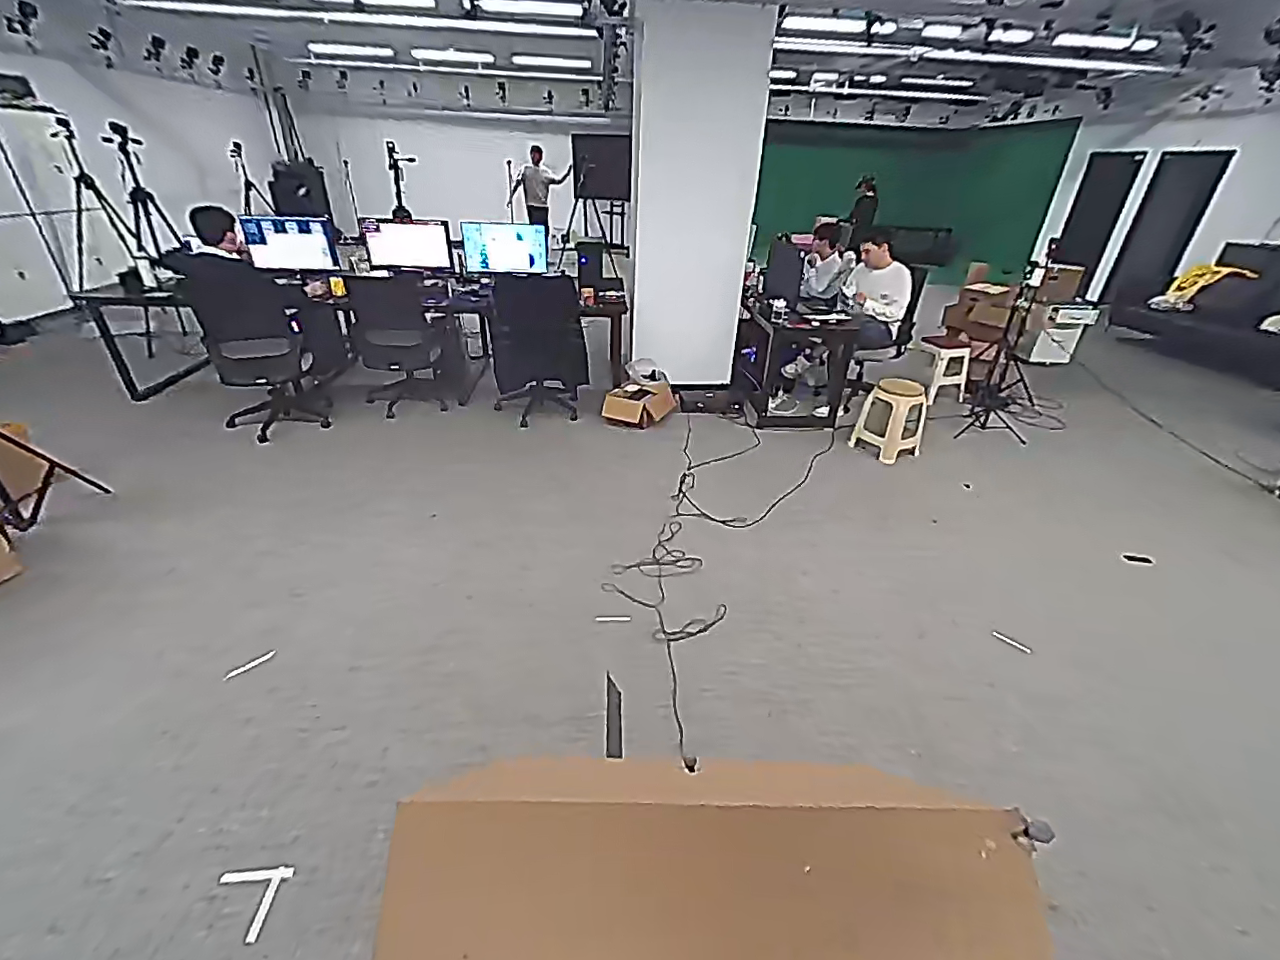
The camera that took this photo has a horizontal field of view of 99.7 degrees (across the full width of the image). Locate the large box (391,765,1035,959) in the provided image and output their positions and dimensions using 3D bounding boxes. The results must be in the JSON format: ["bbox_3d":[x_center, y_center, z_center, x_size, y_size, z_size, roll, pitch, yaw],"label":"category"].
[{"bbox_3d":[0.045,0.420,0.443,0.408,0.320,0.320,-1,68,1],"label":"large box"}]
